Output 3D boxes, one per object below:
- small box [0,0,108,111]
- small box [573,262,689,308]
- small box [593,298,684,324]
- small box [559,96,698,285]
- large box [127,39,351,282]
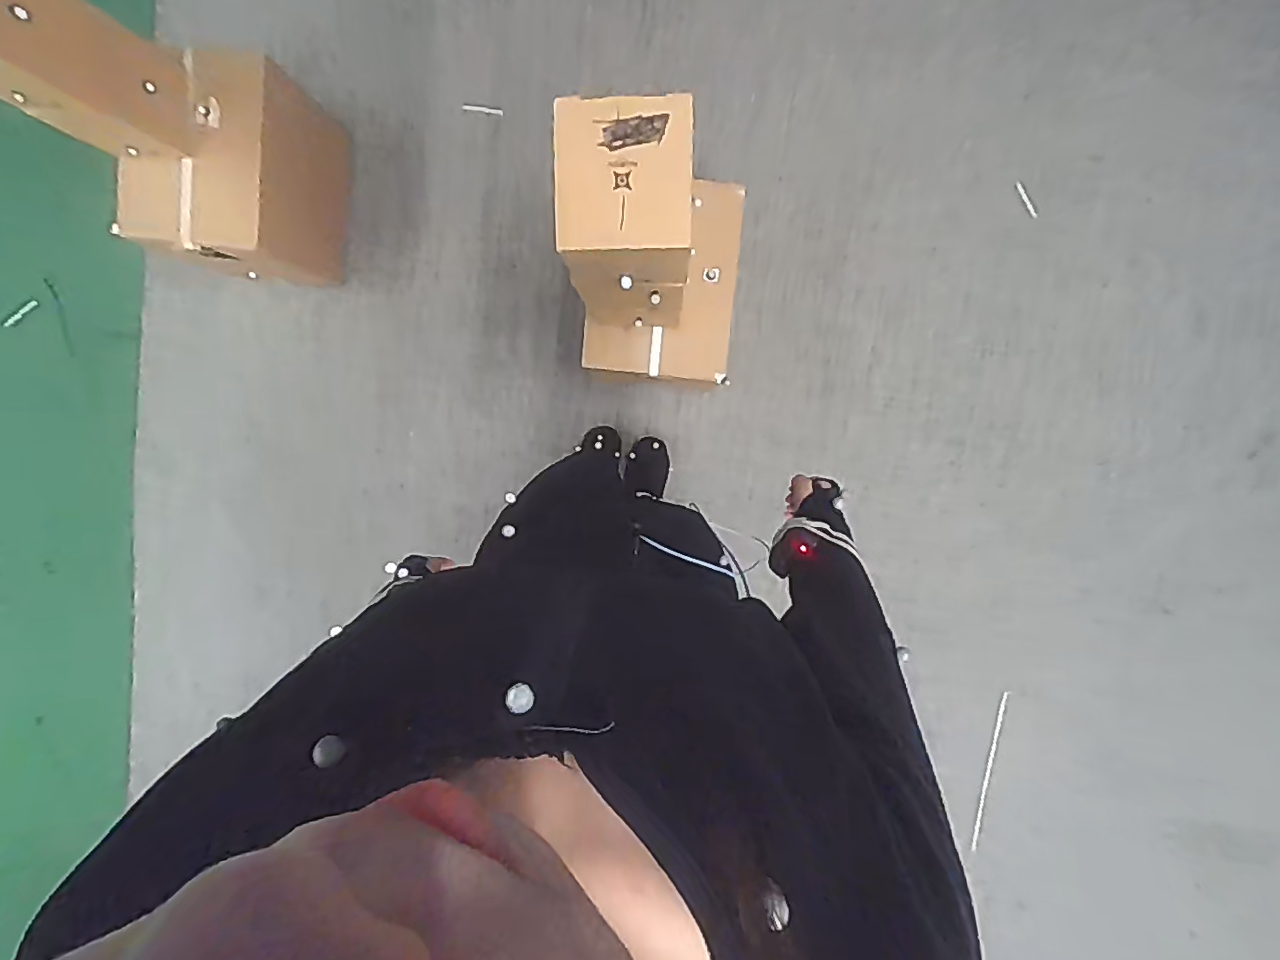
[{"bbox_3d":[-1.028,-0.747,0.884,0.168,0.176,0.179,7,98,5],"label":"small box"},{"bbox_3d":[-0.006,-0.384,0.886,0.179,0.176,0.168,3,96,3],"label":"small box"},{"bbox_3d":[0.005,-0.406,1.050,0.168,0.176,0.179,4,97,3],"label":"small box"},{"bbox_3d":[-0.012,-0.372,0.722,0.168,0.176,0.179,1,97,4],"label":"small box"},{"bbox_3d":[-0.931,-0.725,1.292,0.320,0.320,0.408,7,96,2],"label":"large box"}]
